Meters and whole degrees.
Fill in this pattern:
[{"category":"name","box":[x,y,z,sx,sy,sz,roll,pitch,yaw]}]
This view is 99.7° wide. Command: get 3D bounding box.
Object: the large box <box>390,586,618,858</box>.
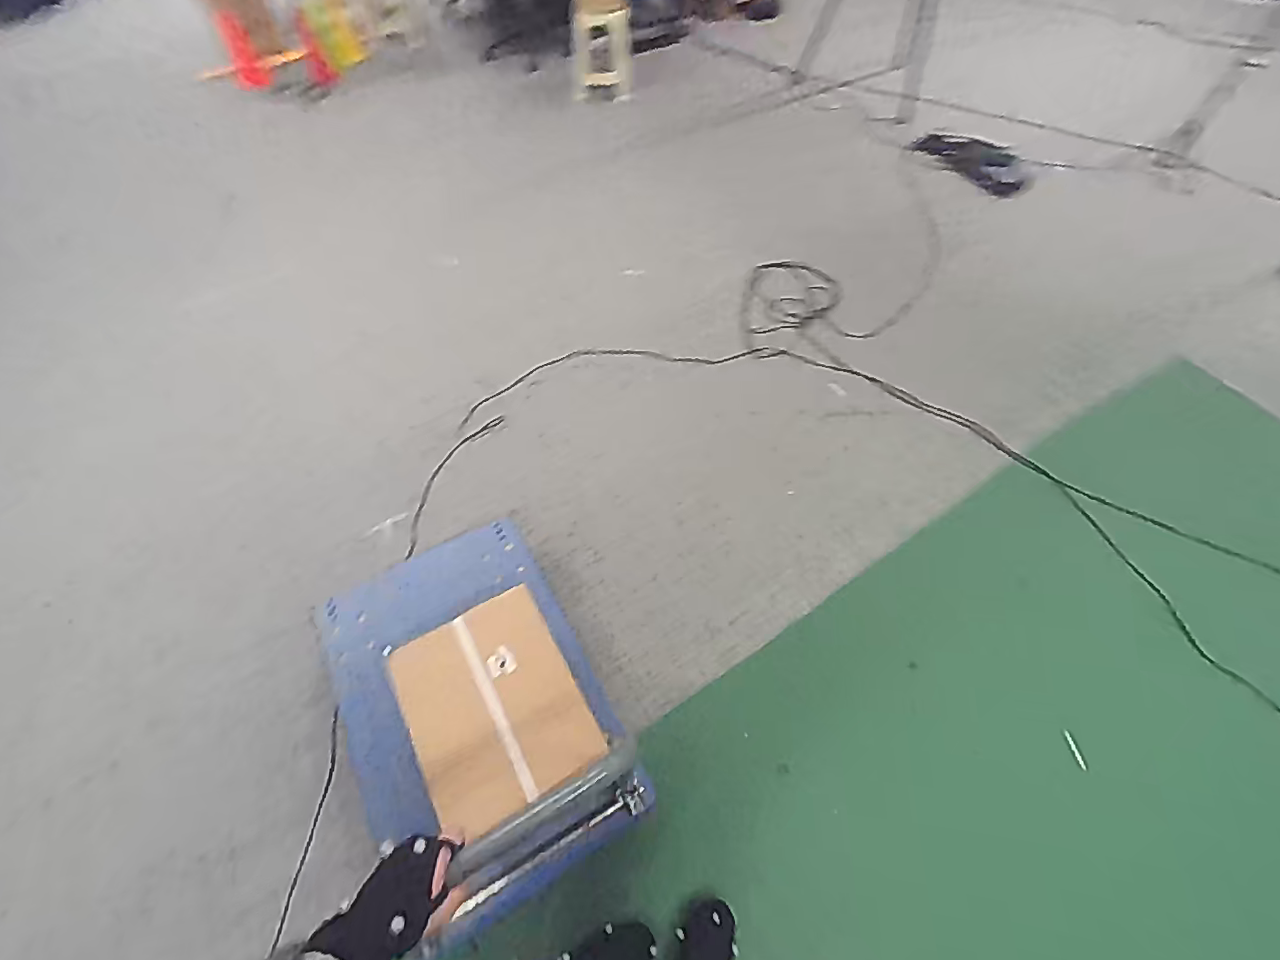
[{"category":"large box","box":[-0.277,0.517,1.170,0.320,0.320,0.408,-25,60,-18]}]
